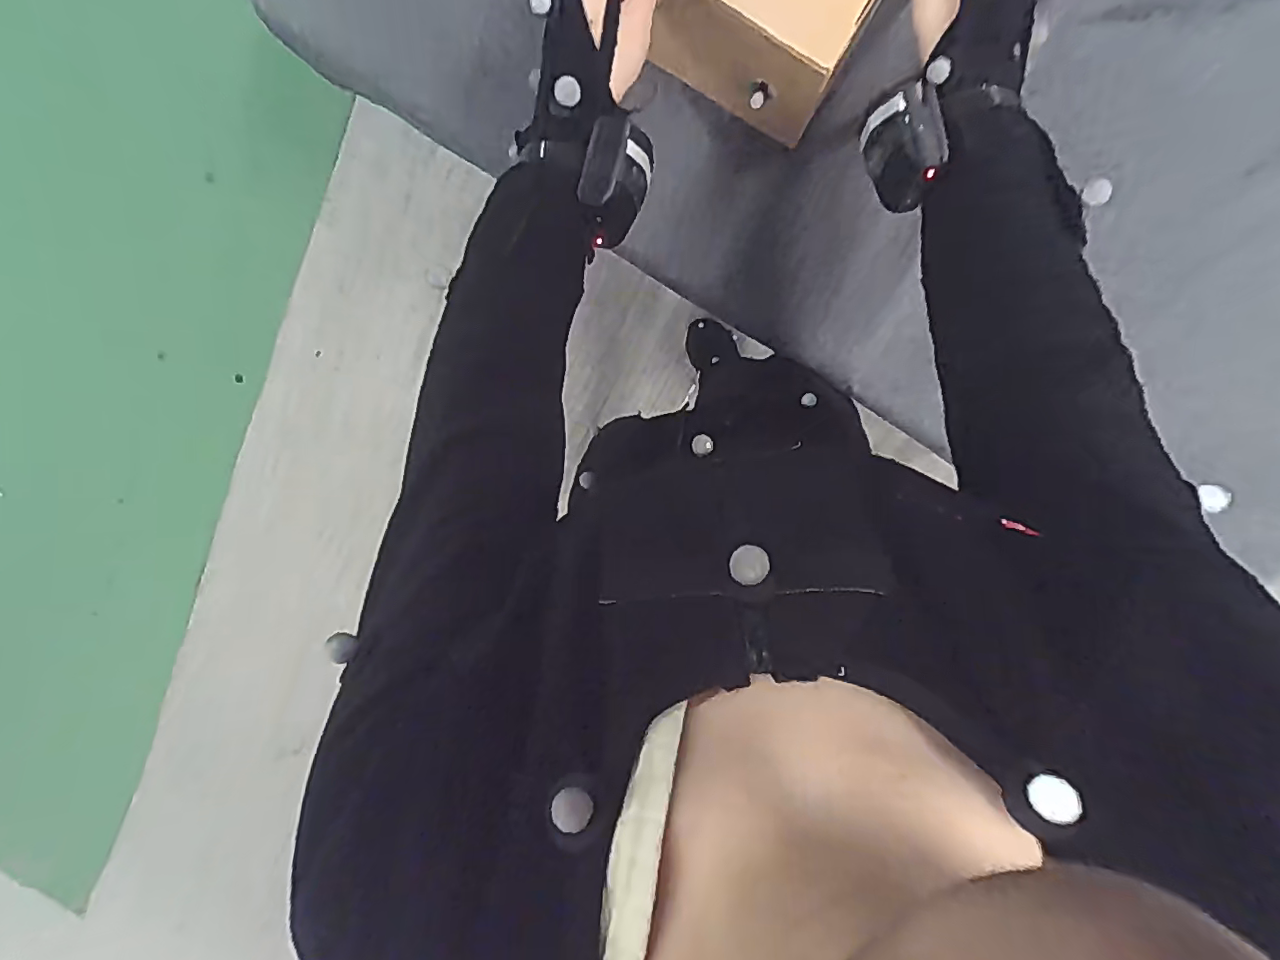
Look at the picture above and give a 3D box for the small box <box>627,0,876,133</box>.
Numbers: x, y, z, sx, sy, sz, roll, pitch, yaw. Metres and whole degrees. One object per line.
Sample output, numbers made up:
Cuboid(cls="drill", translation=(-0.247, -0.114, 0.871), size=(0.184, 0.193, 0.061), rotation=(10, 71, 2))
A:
Cuboid(cls="small box", translation=(0.102, -0.407, 0.416), size=(0.179, 0.176, 0.168), rotation=(30, 105, -2))
